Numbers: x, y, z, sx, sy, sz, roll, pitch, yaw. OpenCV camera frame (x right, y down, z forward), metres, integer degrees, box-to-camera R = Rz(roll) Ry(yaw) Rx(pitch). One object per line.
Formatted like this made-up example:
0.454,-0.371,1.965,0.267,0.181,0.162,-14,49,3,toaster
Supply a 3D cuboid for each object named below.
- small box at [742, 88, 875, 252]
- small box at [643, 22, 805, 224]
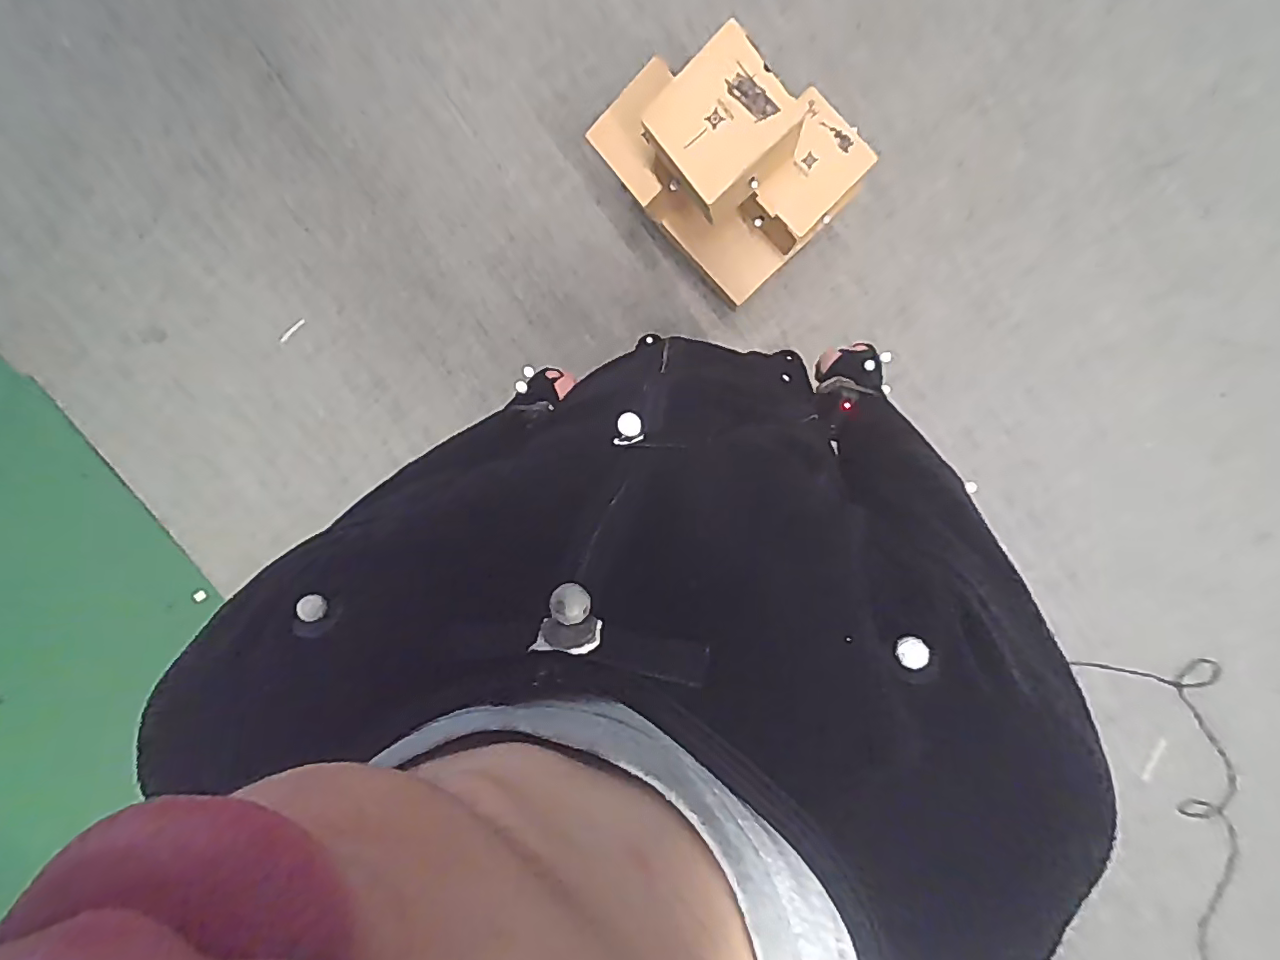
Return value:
0.290,-0.548,0.989,0.168,0.176,0.179,45,106,-3,small box
0.130,-0.538,0.846,0.179,0.176,0.168,-38,94,18,small box
